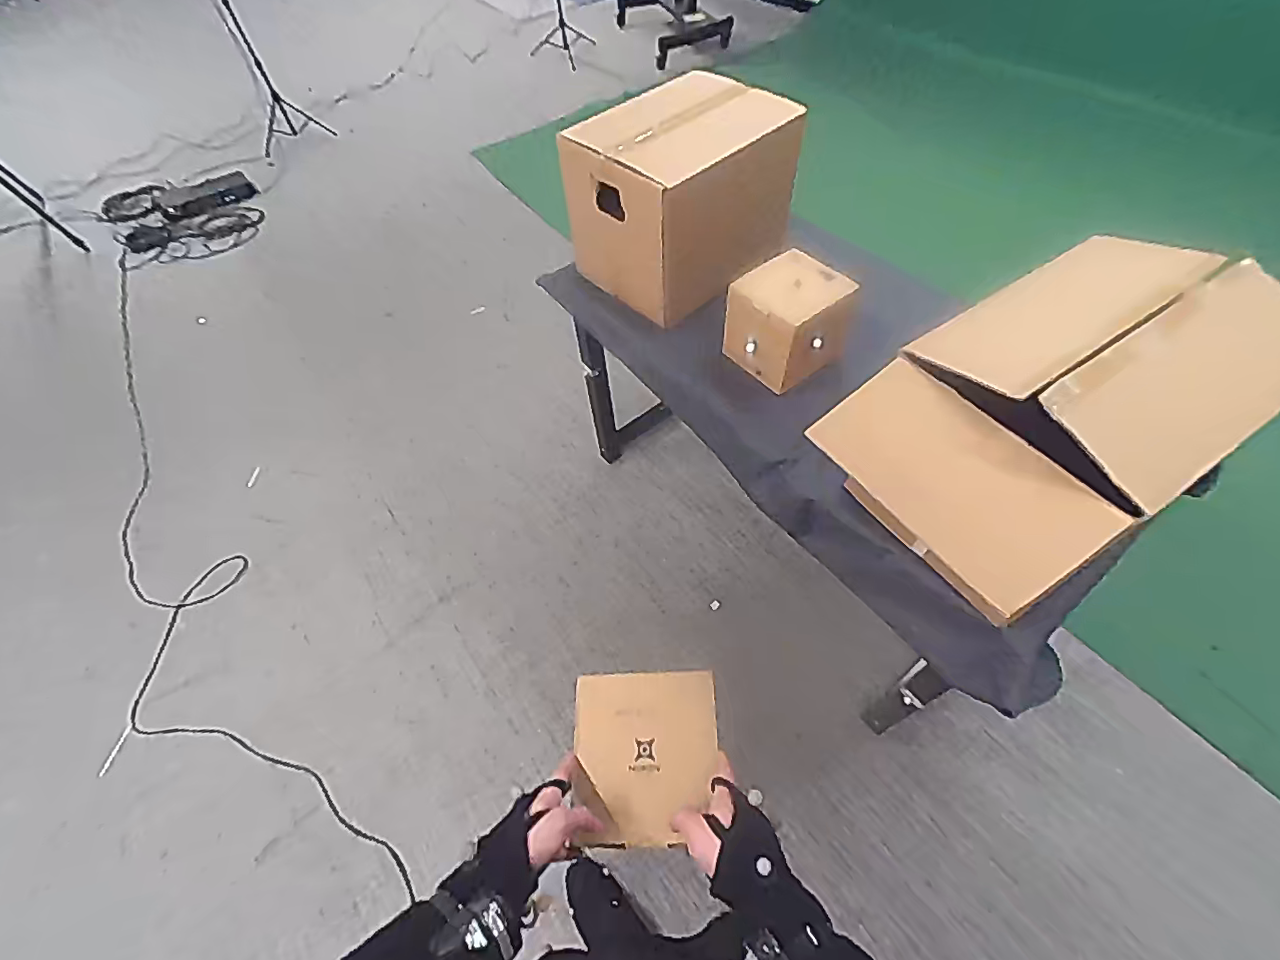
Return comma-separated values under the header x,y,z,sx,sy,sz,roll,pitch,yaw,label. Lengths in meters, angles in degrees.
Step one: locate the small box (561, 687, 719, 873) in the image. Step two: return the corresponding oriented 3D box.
x,y,z,sx,sy,sz,roll,pitch,yaw,label
0.007,0.359,0.655,0.168,0.176,0.179,-3,58,4,small box
